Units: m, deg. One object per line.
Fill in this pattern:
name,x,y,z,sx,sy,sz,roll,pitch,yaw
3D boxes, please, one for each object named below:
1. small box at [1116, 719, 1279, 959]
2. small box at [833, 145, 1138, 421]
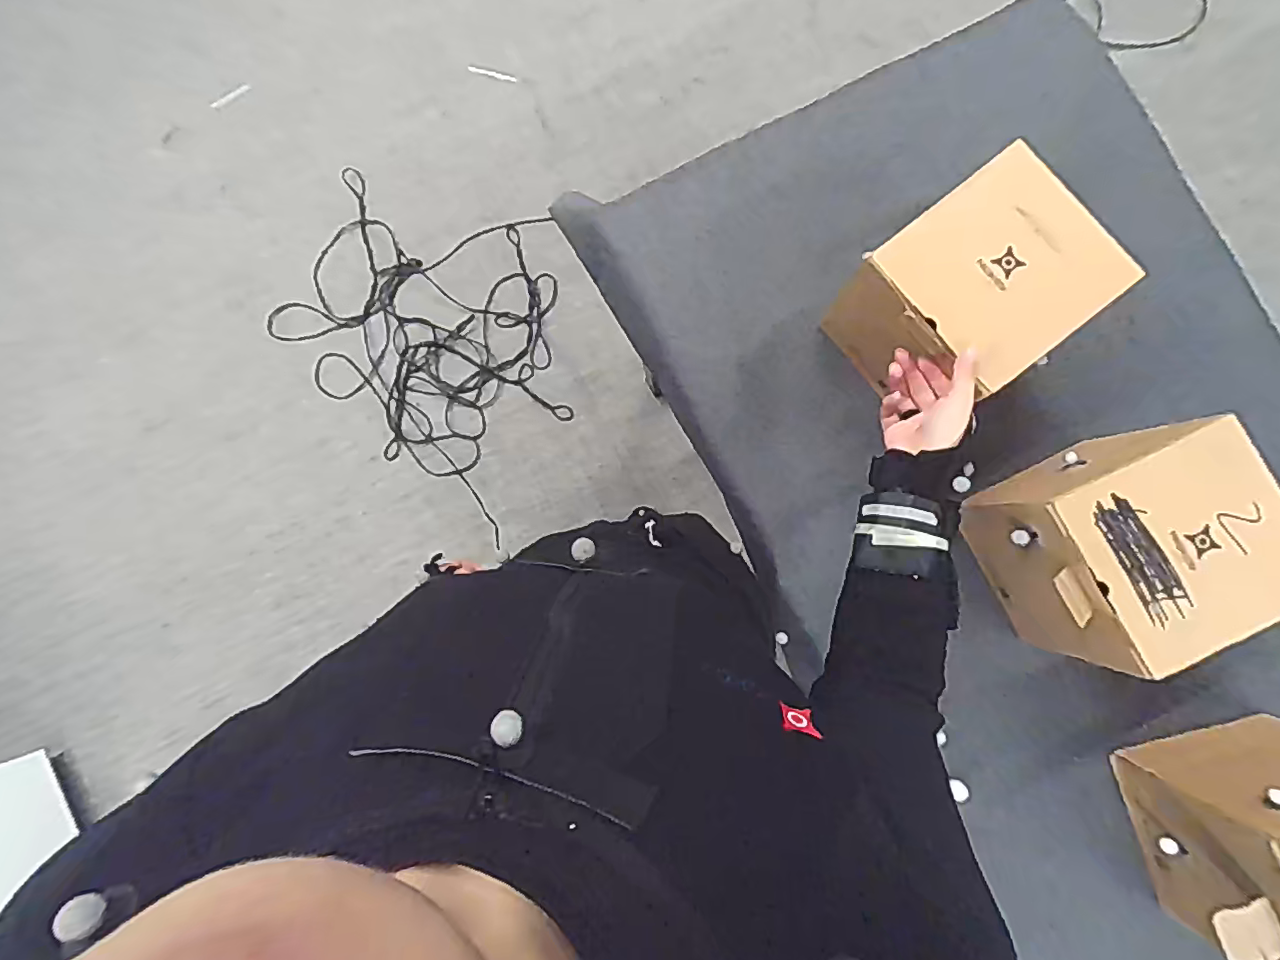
small box,0.614,0.346,0.501,0.179,0.176,0.168,-16,85,3
small box,0.325,-0.182,0.560,0.179,0.176,0.168,-38,86,-2
